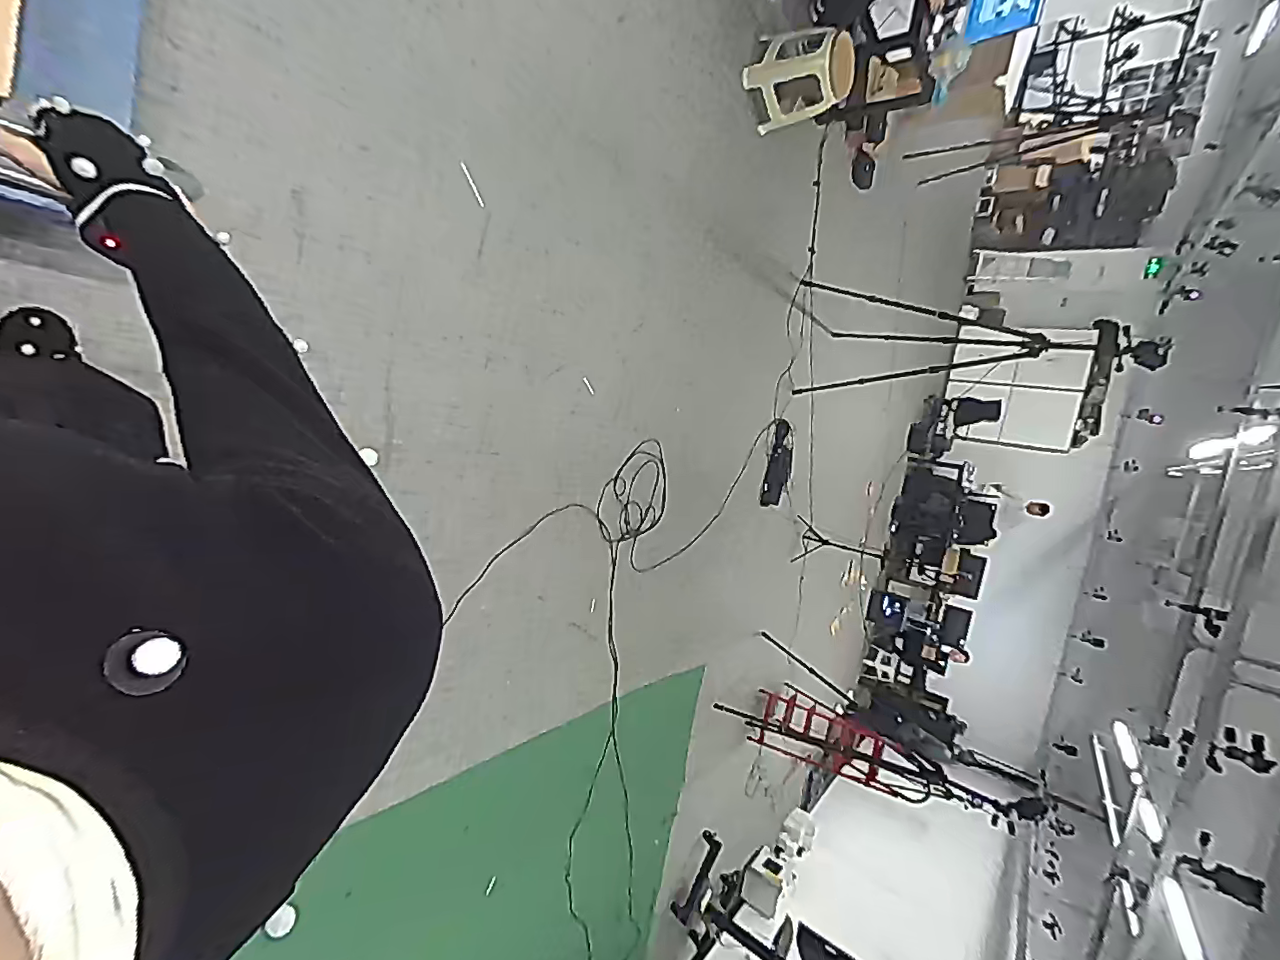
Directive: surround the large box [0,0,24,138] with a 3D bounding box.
[{"bbox_3d":[-1.016,-0.734,0.676,0.320,0.320,0.408,3,97,-54],"label":"large box"}]
